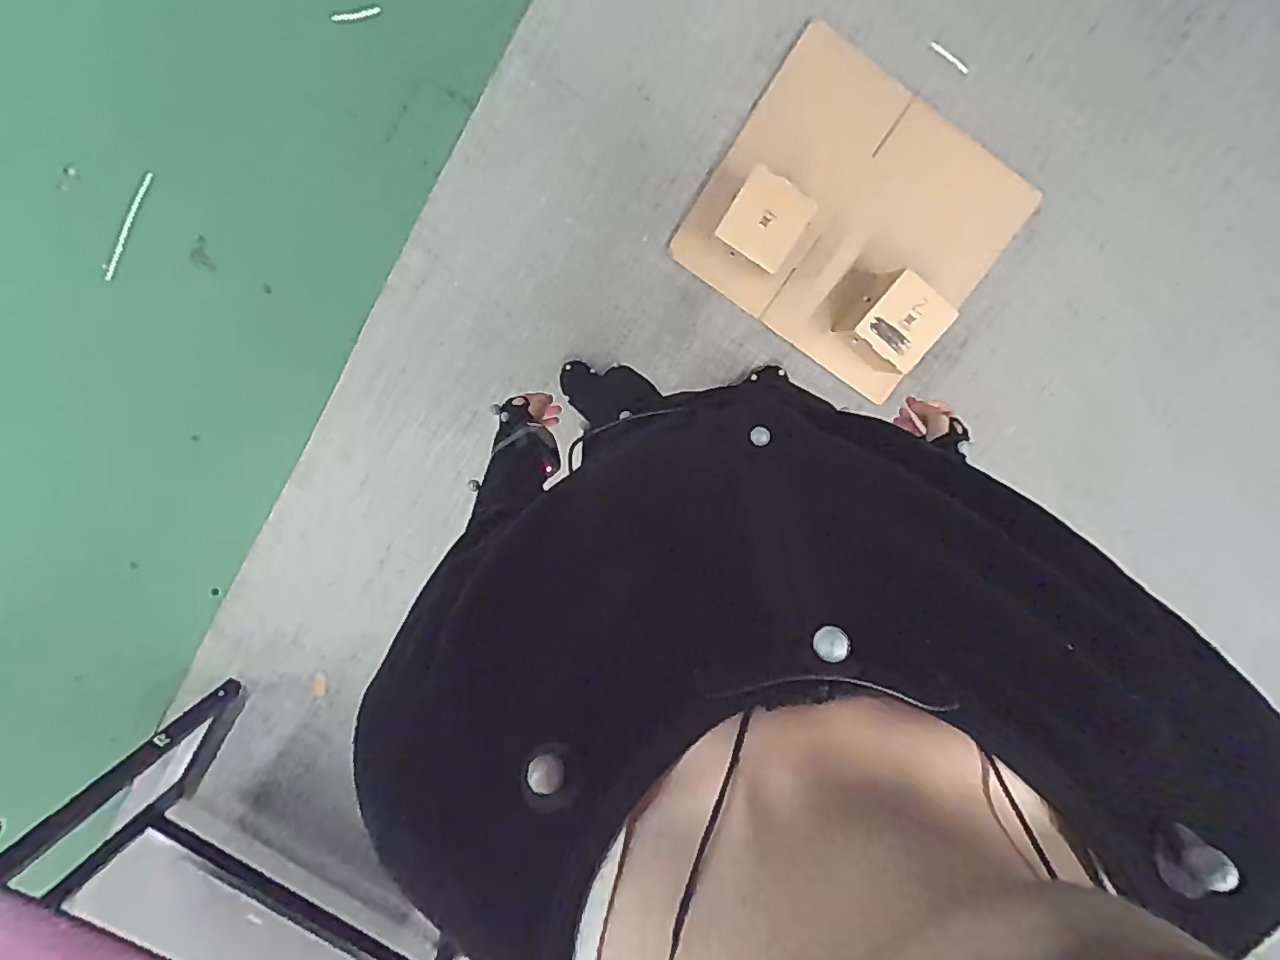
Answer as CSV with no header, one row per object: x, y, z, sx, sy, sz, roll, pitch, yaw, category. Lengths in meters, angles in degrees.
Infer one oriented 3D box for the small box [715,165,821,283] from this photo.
0.287,-0.584,1.265,0.168,0.176,0.179,32,102,-5,small box
